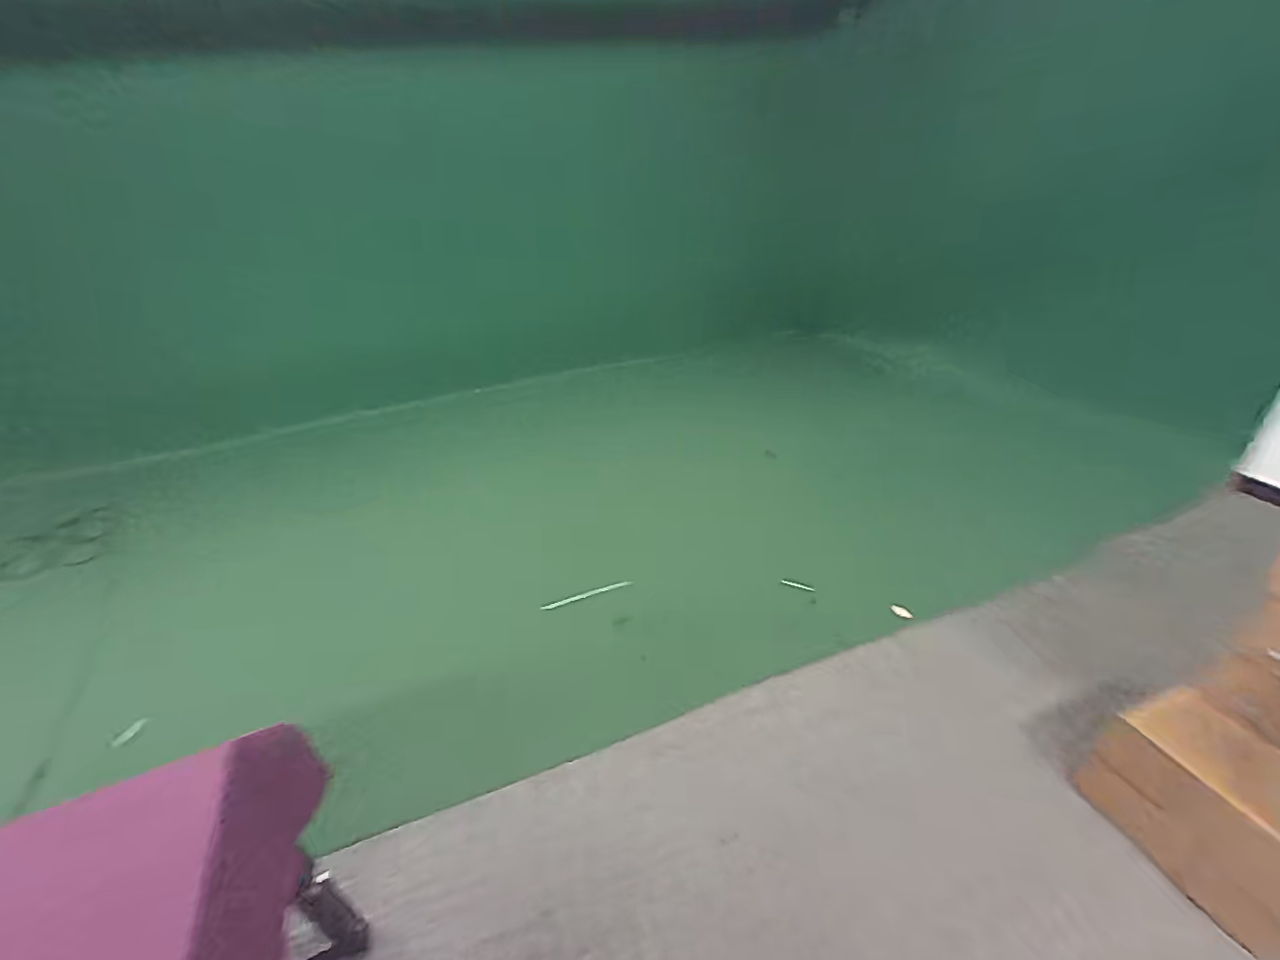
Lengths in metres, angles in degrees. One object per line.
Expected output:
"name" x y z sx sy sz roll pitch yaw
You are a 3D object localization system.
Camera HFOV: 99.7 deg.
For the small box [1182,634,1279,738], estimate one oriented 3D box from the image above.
"small box" 1.435 0.461 1.258 0.179 0.176 0.168 -11 32 -17
